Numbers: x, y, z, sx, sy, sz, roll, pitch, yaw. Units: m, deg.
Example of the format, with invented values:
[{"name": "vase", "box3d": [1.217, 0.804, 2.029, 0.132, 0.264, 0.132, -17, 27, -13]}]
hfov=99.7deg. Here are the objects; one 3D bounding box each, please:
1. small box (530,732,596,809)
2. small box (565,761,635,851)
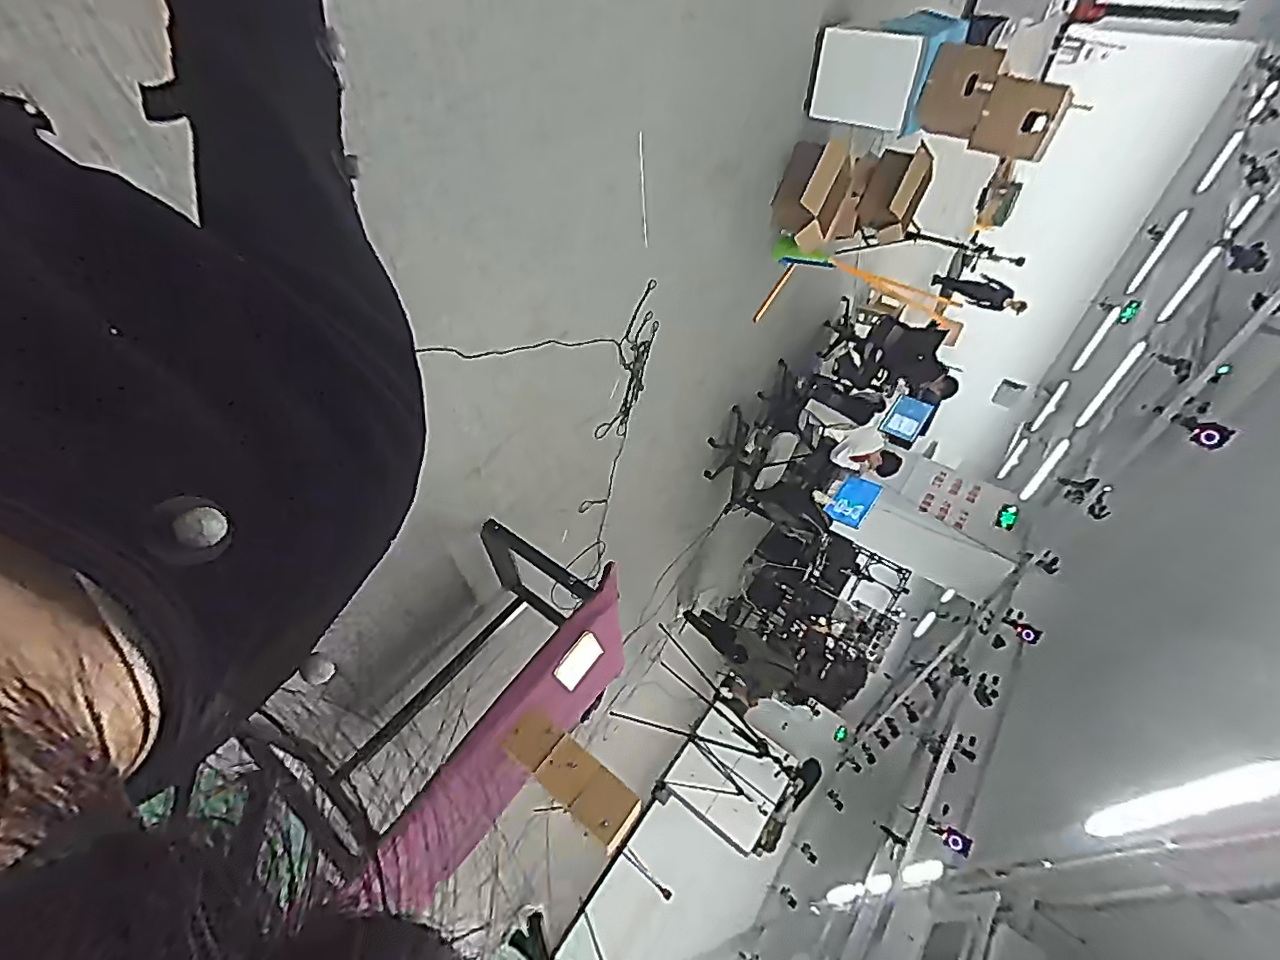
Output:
[{"name": "small box", "box3d": [-0.263, 1.009, 1.875, 0.168, 0.176, 0.179, -45, 152, -32]}, {"name": "small box", "box3d": [-0.136, 1.083, 1.800, 0.179, 0.176, 0.168, -44, 152, -34]}]
